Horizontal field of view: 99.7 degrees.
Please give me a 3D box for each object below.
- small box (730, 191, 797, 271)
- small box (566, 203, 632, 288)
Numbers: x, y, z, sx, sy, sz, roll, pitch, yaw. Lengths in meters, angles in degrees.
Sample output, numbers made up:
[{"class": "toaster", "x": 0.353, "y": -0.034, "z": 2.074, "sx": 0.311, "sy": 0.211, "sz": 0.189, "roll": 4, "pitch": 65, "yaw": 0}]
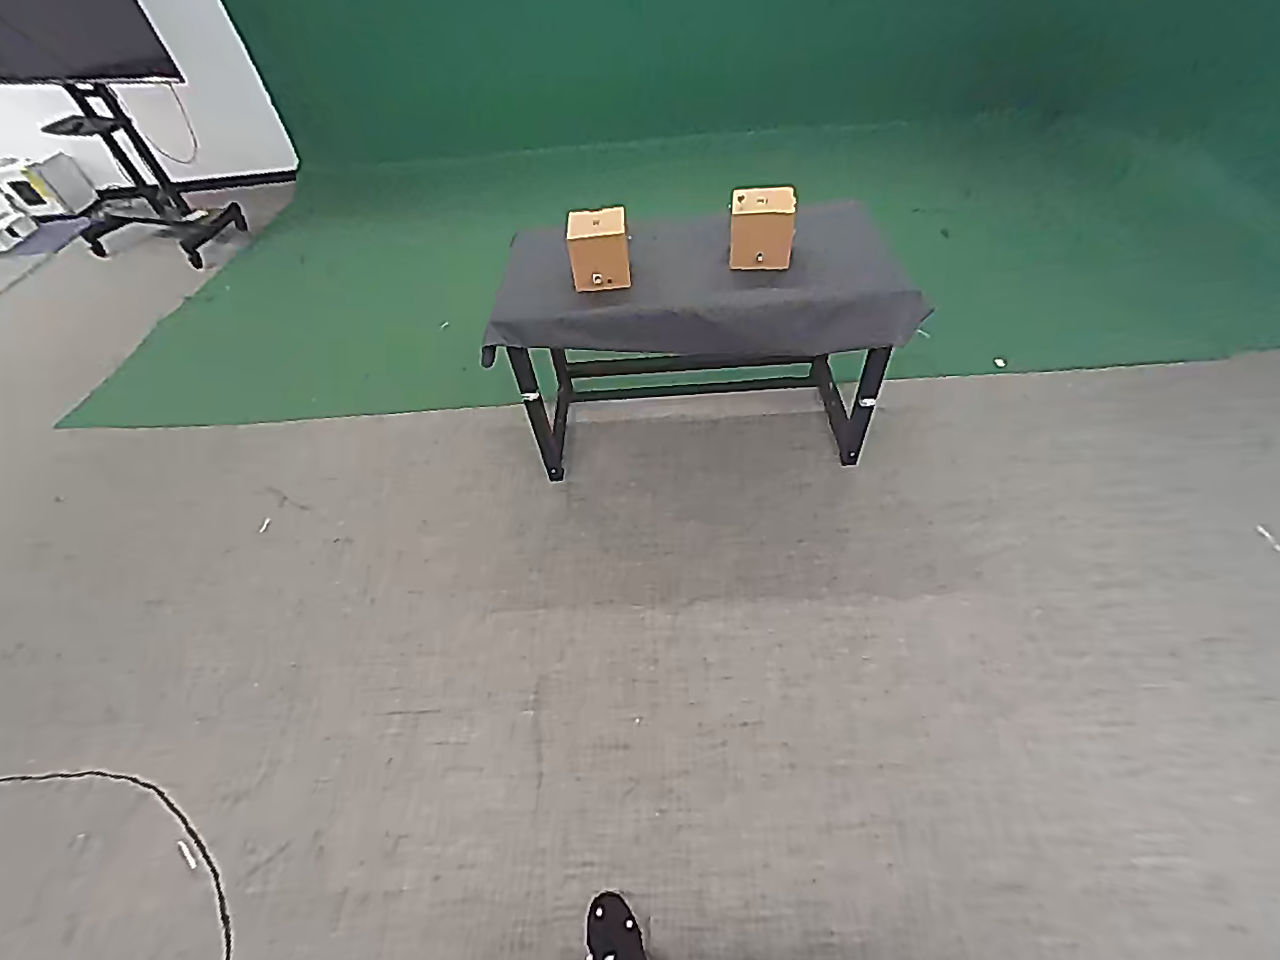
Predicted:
[{"class": "small box", "x": 0.365, "y": -0.740, "z": 1.613, "sx": 0.179, "sy": 0.176, "sz": 0.168, "roll": 4, "pitch": 50, "yaw": 9}, {"class": "small box", "x": -0.116, "y": -0.693, "z": 1.602, "sx": 0.168, "sy": 0.176, "sz": 0.179, "roll": -5, "pitch": 49, "yaw": 5}]
